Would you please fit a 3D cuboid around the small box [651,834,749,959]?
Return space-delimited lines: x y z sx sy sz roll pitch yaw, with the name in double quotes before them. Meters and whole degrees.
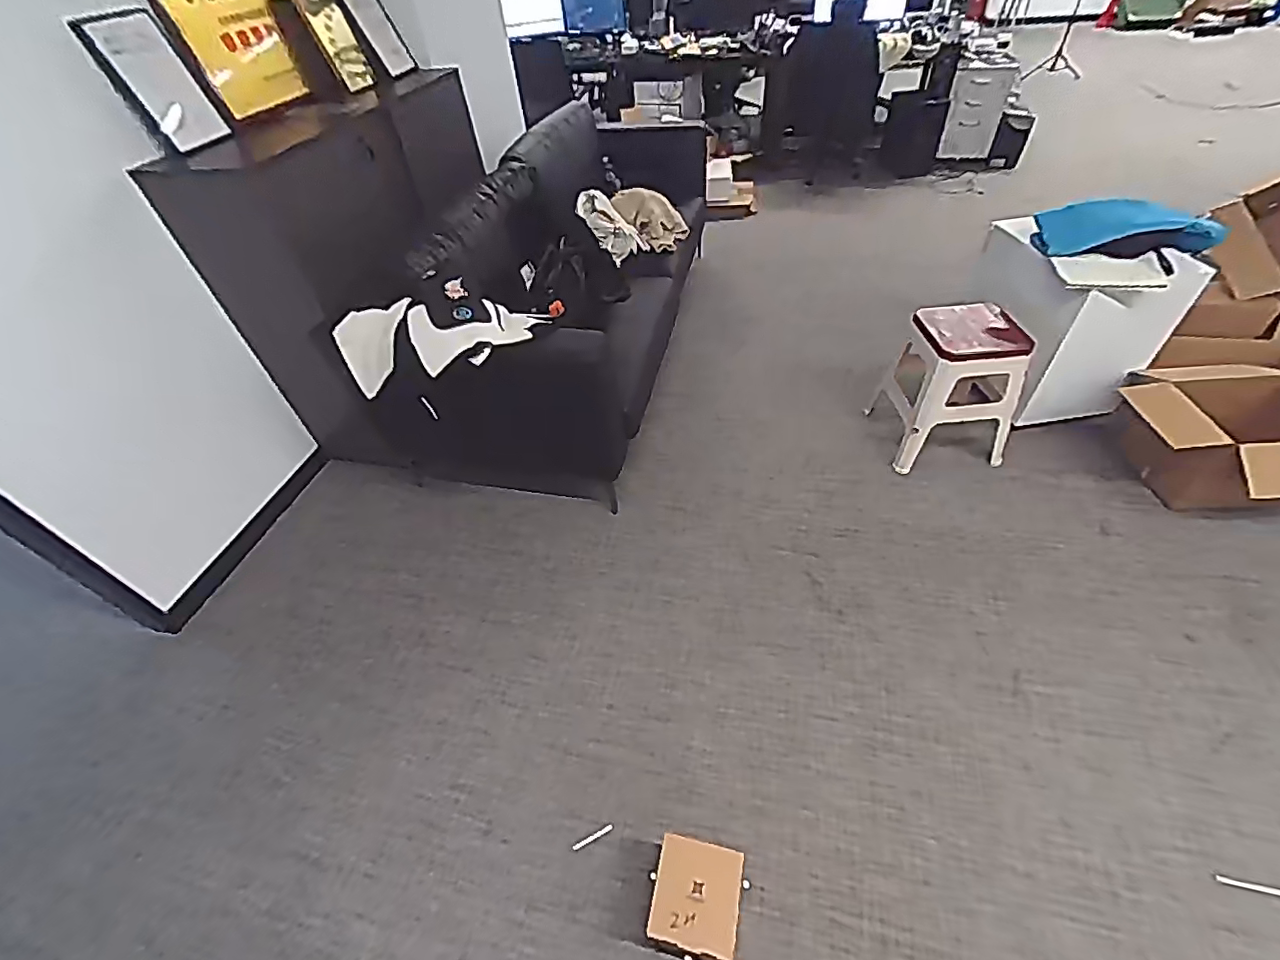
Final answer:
"small box" 0.125 0.858 1.100 0.168 0.176 0.179 7 48 13
